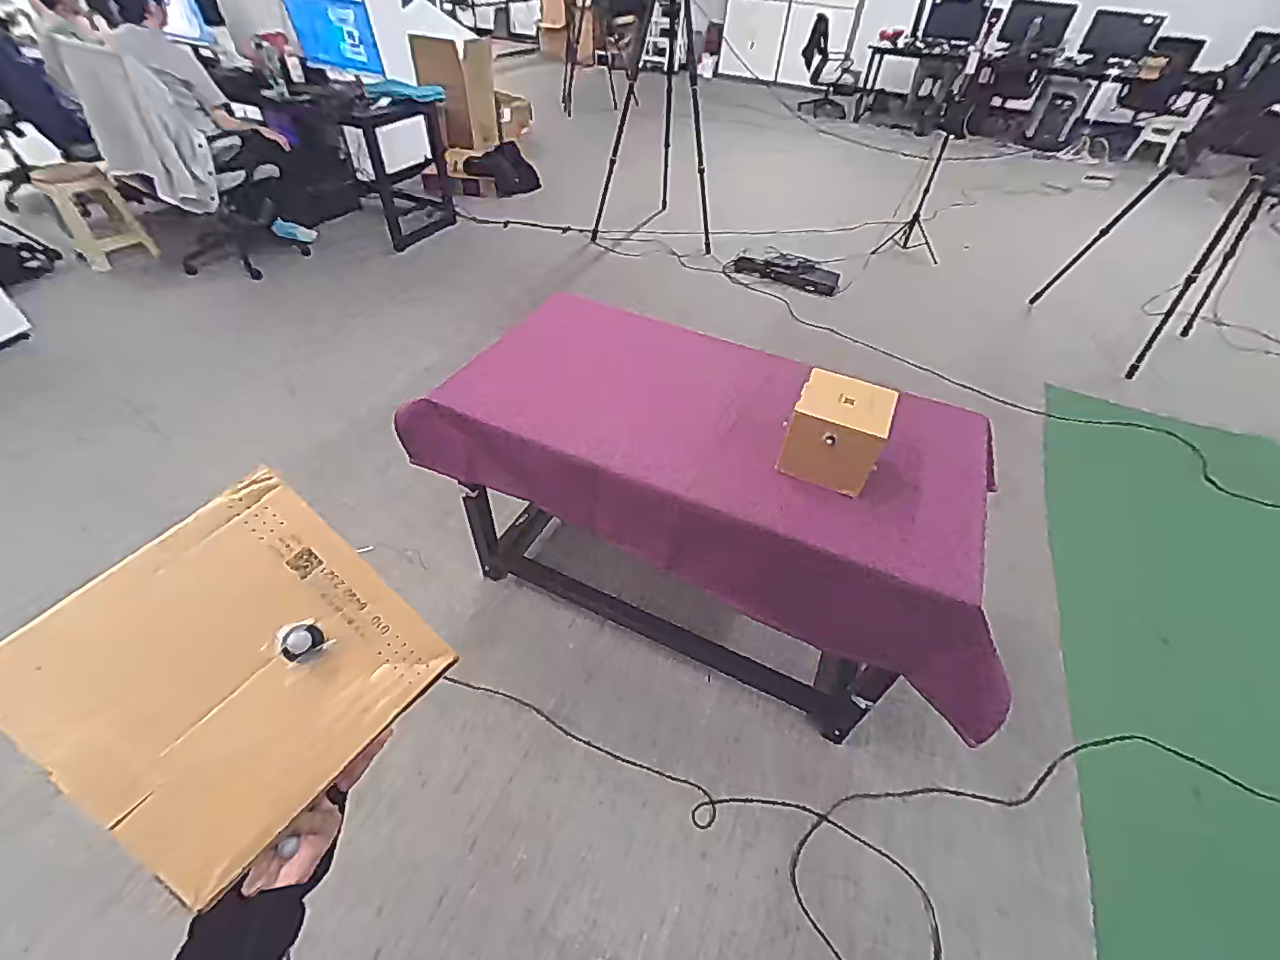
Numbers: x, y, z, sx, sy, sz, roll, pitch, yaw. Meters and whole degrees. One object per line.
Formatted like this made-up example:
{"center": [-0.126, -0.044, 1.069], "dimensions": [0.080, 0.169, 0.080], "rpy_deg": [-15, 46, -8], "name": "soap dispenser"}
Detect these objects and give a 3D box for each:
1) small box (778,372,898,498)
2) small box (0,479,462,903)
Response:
{"center": [0.401, -0.090, 1.110], "dimensions": [0.179, 0.176, 0.168], "rpy_deg": [22, 48, 16], "name": "small box"}
{"center": [-0.246, 0.127, 0.379], "dimensions": [0.168, 0.179, 0.176], "rpy_deg": [47, 63, -1], "name": "small box"}
